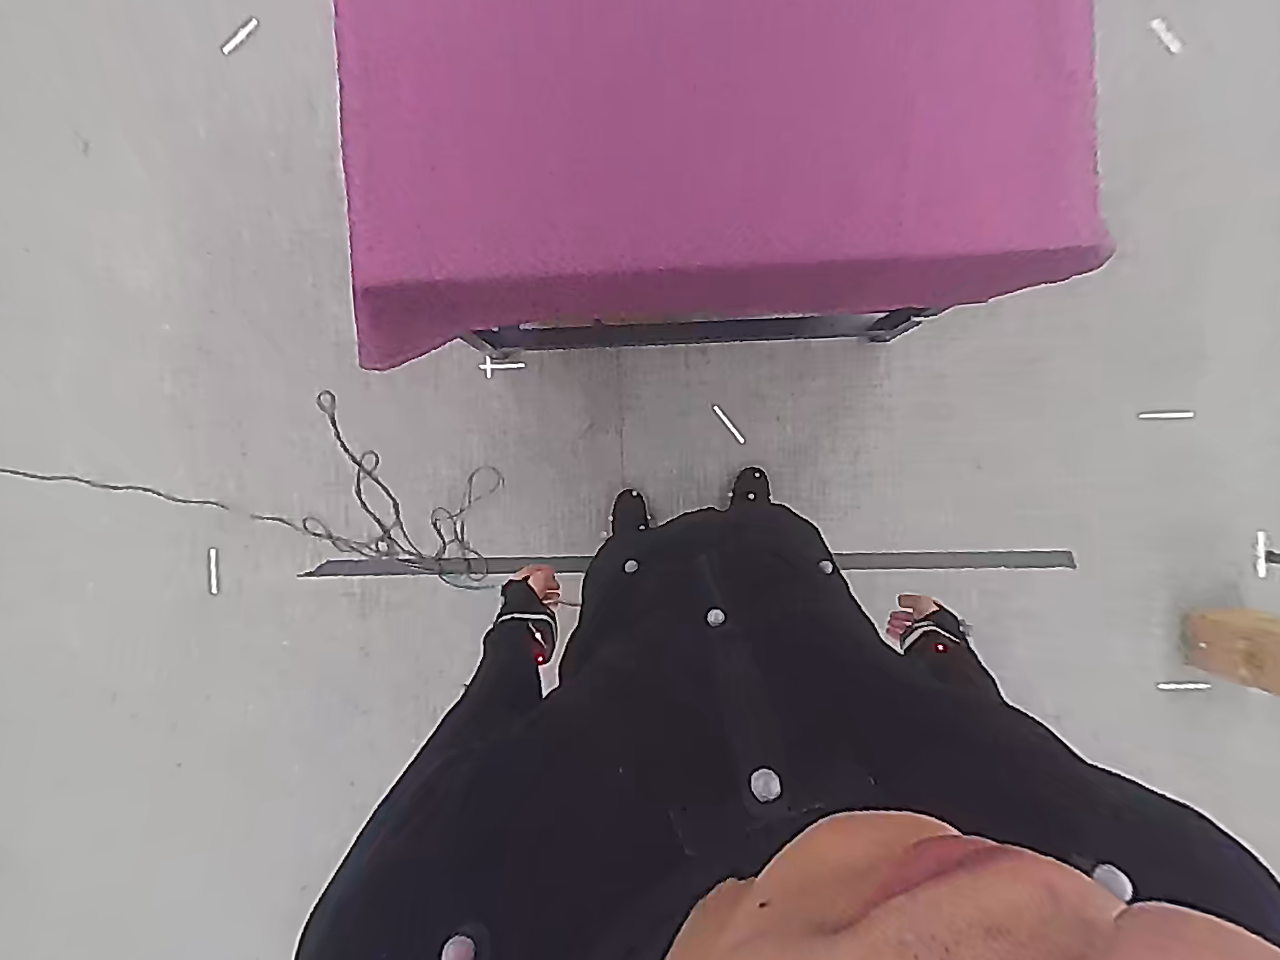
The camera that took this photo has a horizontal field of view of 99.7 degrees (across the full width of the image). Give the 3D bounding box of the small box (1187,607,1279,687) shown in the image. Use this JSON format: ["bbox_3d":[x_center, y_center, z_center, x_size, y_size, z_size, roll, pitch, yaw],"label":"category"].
[{"bbox_3d":[1.696,0.459,1.506,0.179,0.176,0.168,-5,92,2],"label":"small box"}]
